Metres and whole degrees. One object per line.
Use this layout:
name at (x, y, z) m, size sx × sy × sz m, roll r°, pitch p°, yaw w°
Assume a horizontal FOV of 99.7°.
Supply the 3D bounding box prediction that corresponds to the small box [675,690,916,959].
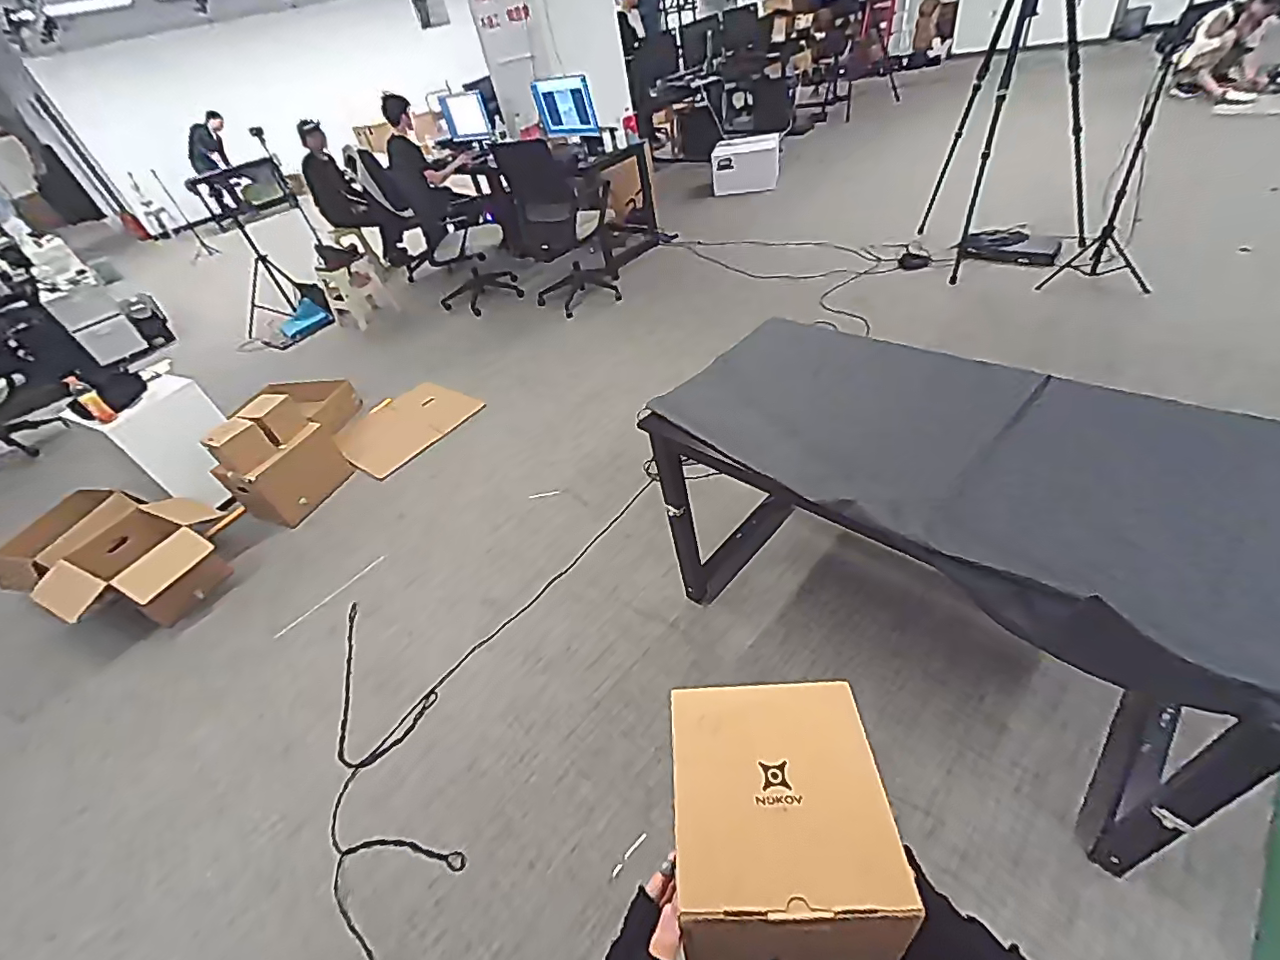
small box at (0.118, 0.317, 0.489) m, size 0.168 × 0.176 × 0.179 m, roll -5°, pitch 35°, yaw 4°
